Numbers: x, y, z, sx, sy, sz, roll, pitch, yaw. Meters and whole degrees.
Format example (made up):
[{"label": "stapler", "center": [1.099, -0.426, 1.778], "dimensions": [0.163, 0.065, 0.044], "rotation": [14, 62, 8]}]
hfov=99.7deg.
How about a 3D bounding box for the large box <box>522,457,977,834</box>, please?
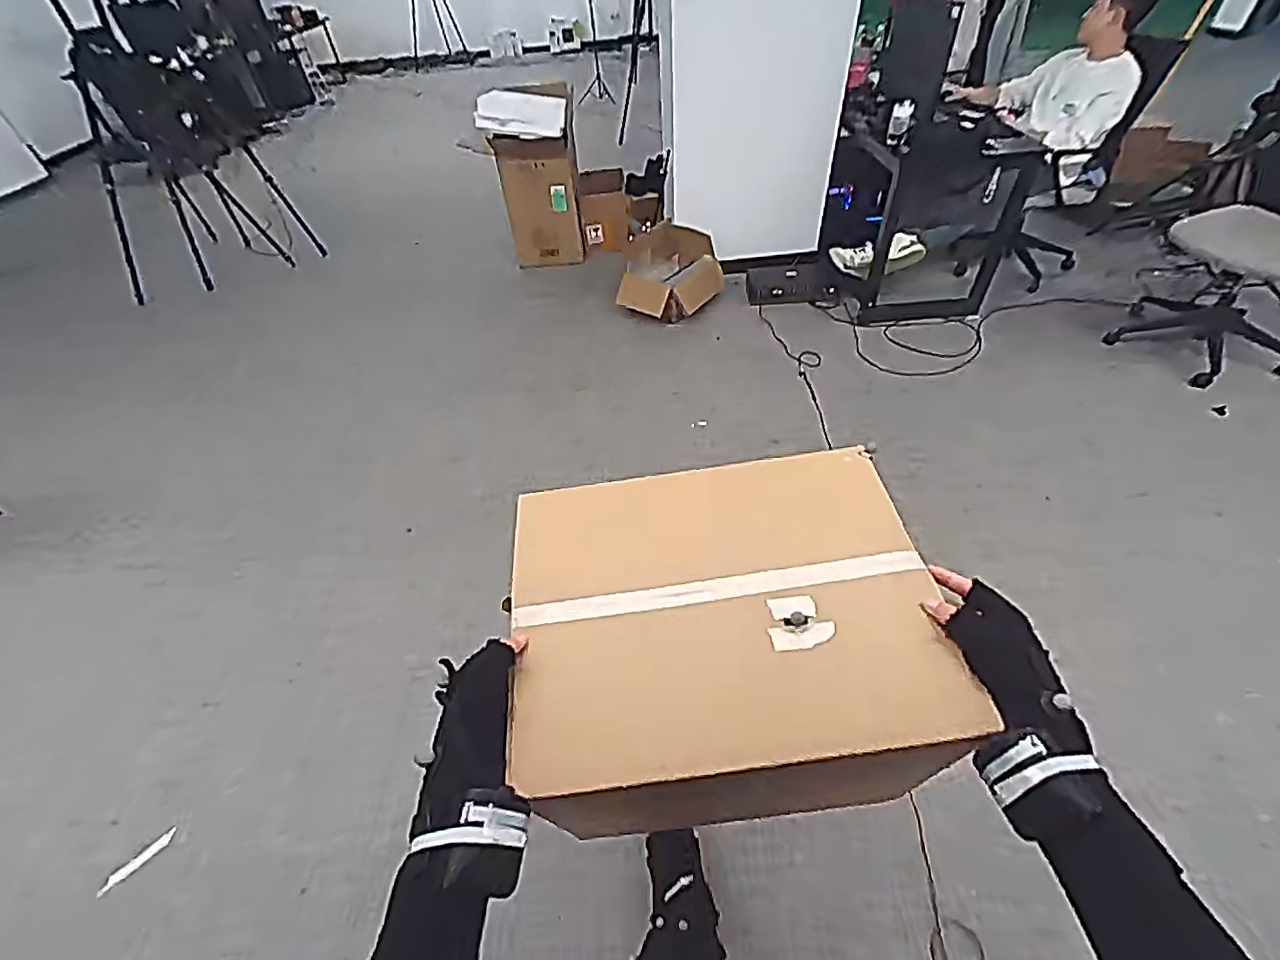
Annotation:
[{"label": "large box", "center": [0.090, 0.211, 0.666], "dimensions": [0.408, 0.320, 0.320], "rotation": [-8, 51, 0]}]
